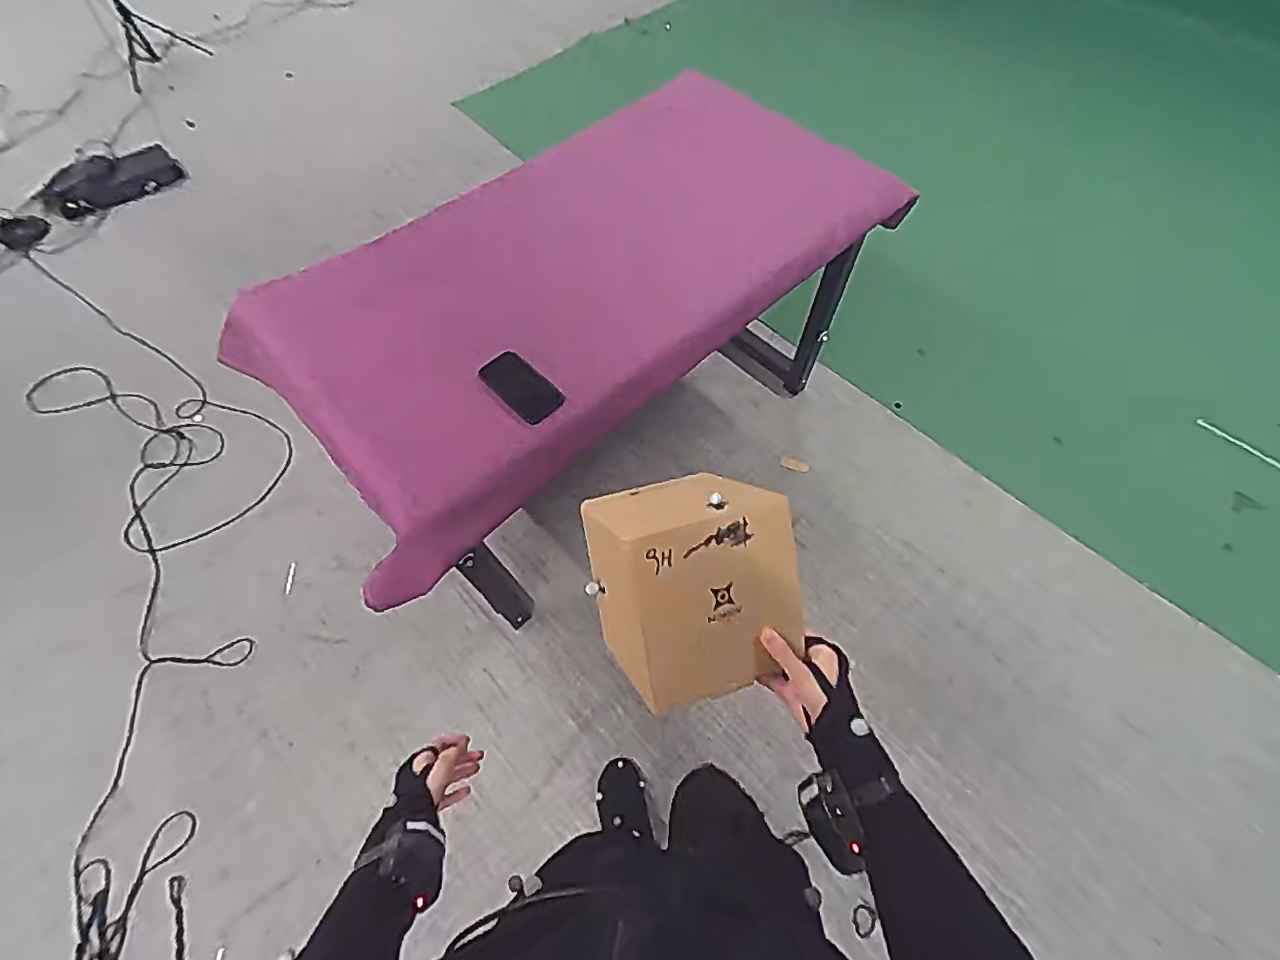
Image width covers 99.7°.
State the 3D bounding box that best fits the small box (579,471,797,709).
[{"bbox_3d":[0.043,0.099,0.574,0.168,0.176,0.179,-13,102,-18],"label":"small box"}]
